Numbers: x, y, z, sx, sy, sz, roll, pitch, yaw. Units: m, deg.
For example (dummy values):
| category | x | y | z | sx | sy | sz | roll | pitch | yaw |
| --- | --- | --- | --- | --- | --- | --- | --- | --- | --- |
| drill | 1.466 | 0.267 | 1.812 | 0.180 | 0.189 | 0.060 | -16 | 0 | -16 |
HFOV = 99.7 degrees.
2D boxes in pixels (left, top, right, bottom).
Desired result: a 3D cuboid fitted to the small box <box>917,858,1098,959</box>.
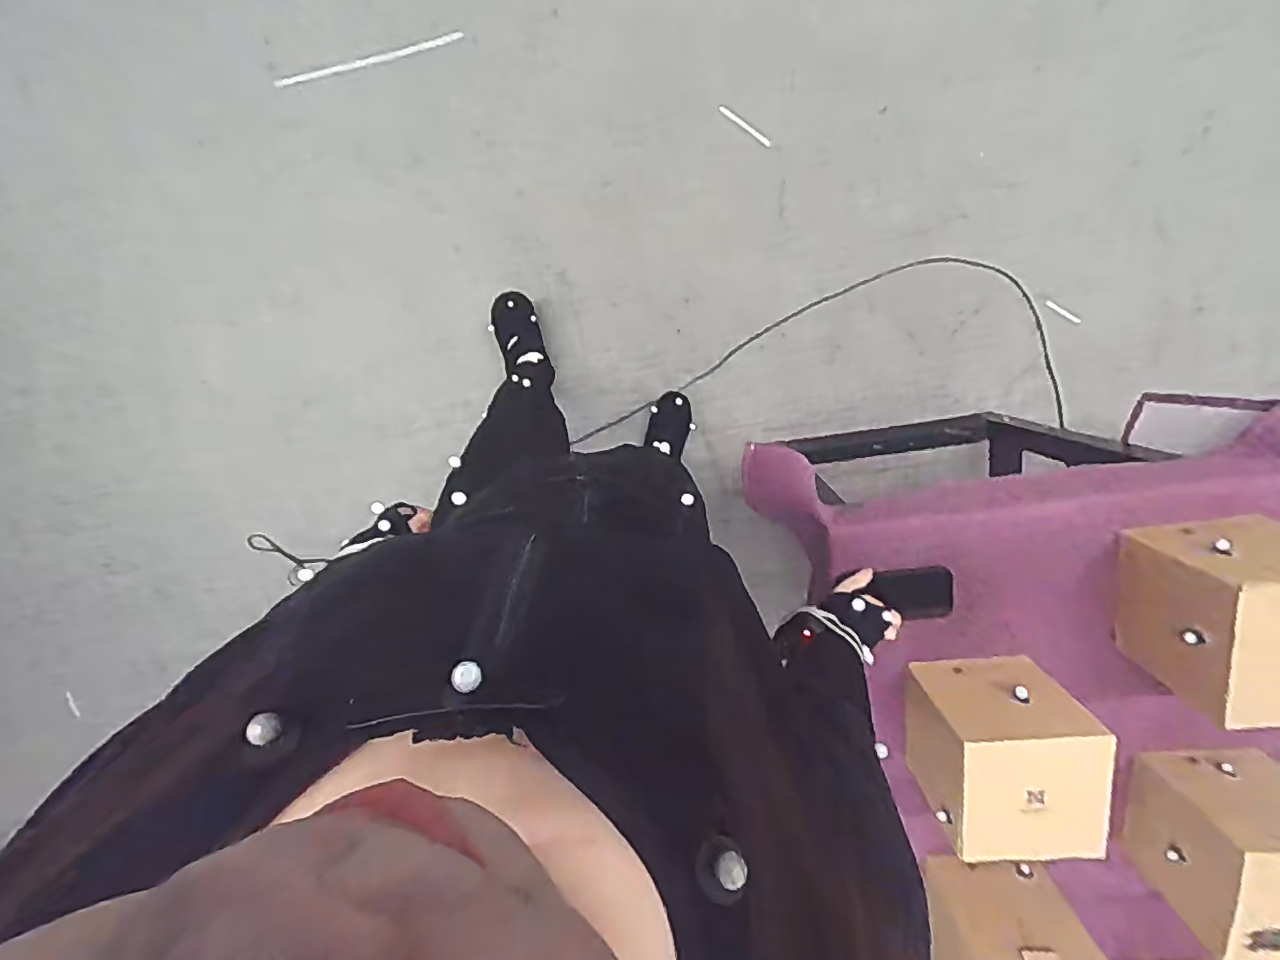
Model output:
| category | x | y | z | sx | sy | sz | roll | pitch | yaw |
| --- | --- | --- | --- | --- | --- | --- | --- | --- | --- |
| small box | 0.530 | 0.699 | 0.801 | 0.168 | 0.176 | 0.179 | -4 | 105 | 5 |

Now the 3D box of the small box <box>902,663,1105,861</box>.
| category | x | y | z | sx | sy | sz | roll | pitch | yaw |
| --- | --- | --- | --- | --- | --- | --- | --- | --- | --- |
| small box | 0.466 | 0.361 | 0.721 | 0.168 | 0.176 | 0.179 | -6 | 105 | 5 |
